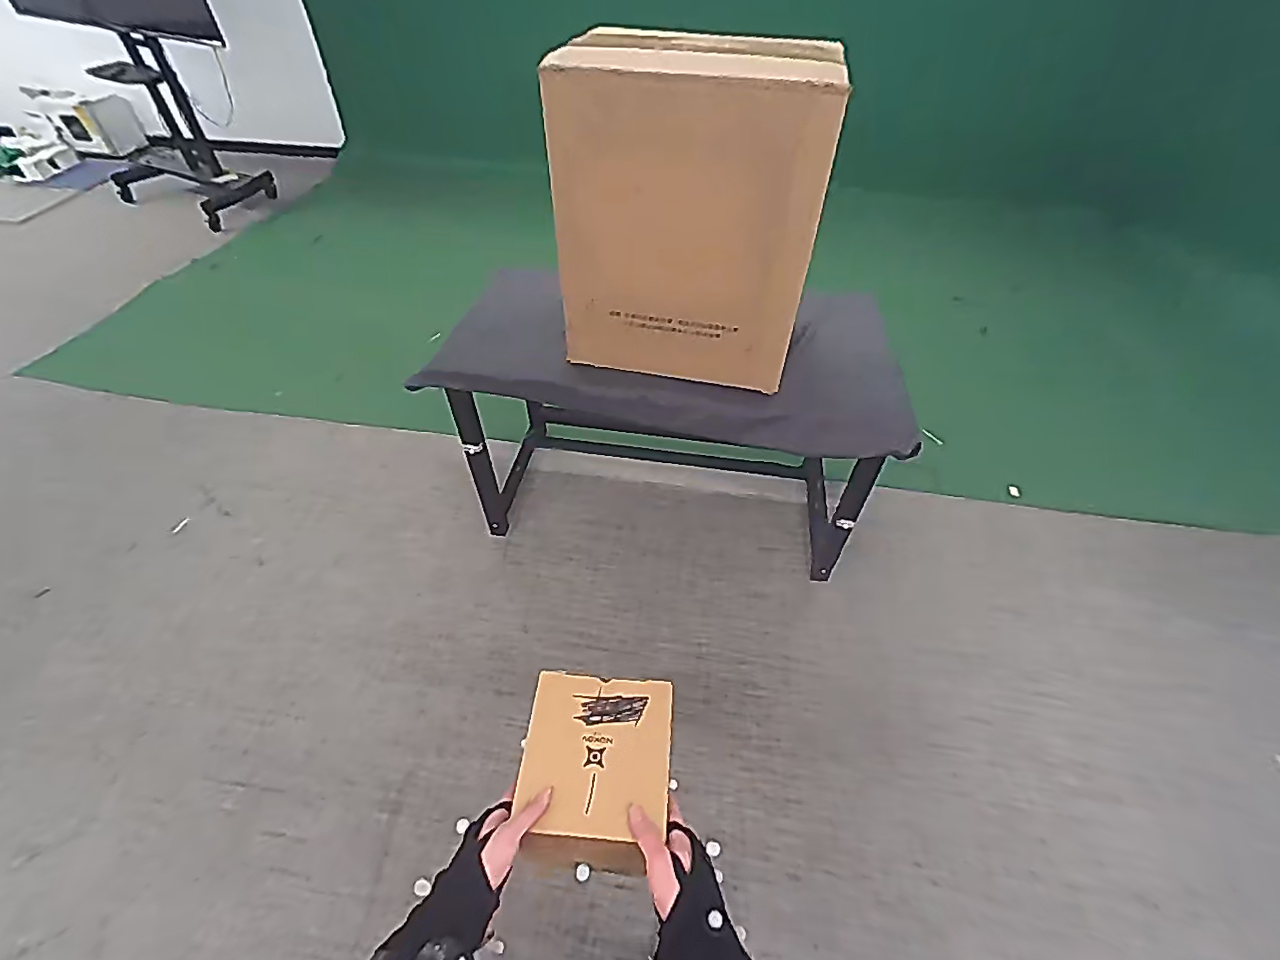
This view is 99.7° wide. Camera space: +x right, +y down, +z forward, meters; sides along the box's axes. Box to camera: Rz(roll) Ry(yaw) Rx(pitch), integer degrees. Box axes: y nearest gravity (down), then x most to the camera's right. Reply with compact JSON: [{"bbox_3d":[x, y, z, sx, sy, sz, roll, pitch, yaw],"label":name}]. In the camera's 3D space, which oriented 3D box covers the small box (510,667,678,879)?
[{"bbox_3d":[-0.048,0.359,0.666,0.168,0.176,0.179,6,45,4],"label":"small box"}]
